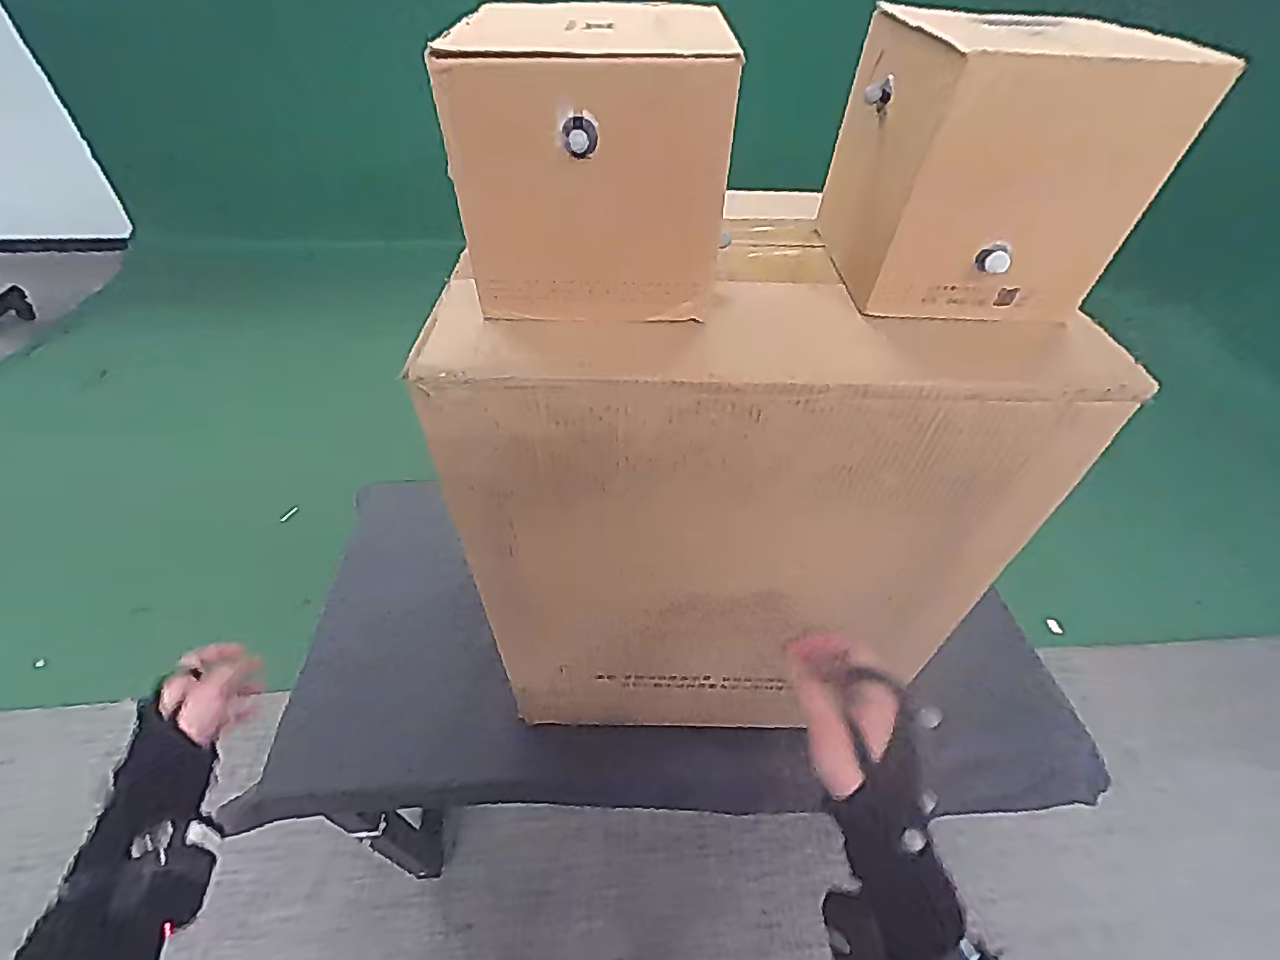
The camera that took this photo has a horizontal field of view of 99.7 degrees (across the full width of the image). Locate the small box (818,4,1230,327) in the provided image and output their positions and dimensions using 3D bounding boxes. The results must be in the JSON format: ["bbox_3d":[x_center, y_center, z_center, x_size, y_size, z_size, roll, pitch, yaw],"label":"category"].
[{"bbox_3d":[0.256,-0.243,0.424,0.168,0.176,0.179,2,49,-2],"label":"small box"}]

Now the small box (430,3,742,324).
[{"bbox_3d":[-0.031,-0.234,0.408,0.179,0.176,0.168,2,49,-2],"label":"small box"}]
